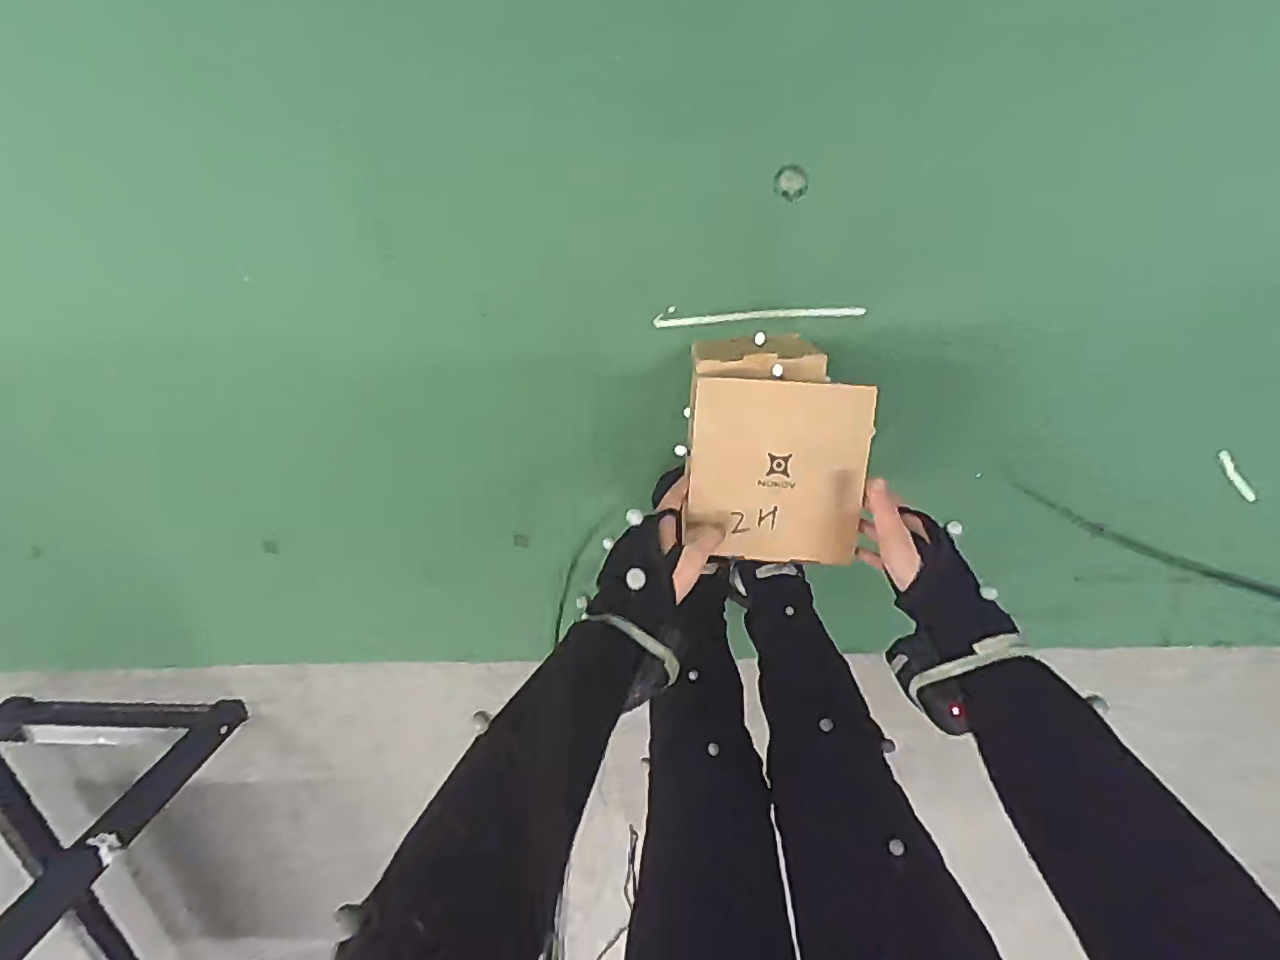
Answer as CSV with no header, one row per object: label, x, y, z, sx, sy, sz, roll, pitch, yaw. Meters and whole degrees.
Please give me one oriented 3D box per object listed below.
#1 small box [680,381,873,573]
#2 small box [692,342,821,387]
small box,0.131,-0.015,0.585,0.168,0.176,0.179,3,101,4
small box,0.162,-0.100,0.801,0.168,0.176,0.179,-3,111,6
